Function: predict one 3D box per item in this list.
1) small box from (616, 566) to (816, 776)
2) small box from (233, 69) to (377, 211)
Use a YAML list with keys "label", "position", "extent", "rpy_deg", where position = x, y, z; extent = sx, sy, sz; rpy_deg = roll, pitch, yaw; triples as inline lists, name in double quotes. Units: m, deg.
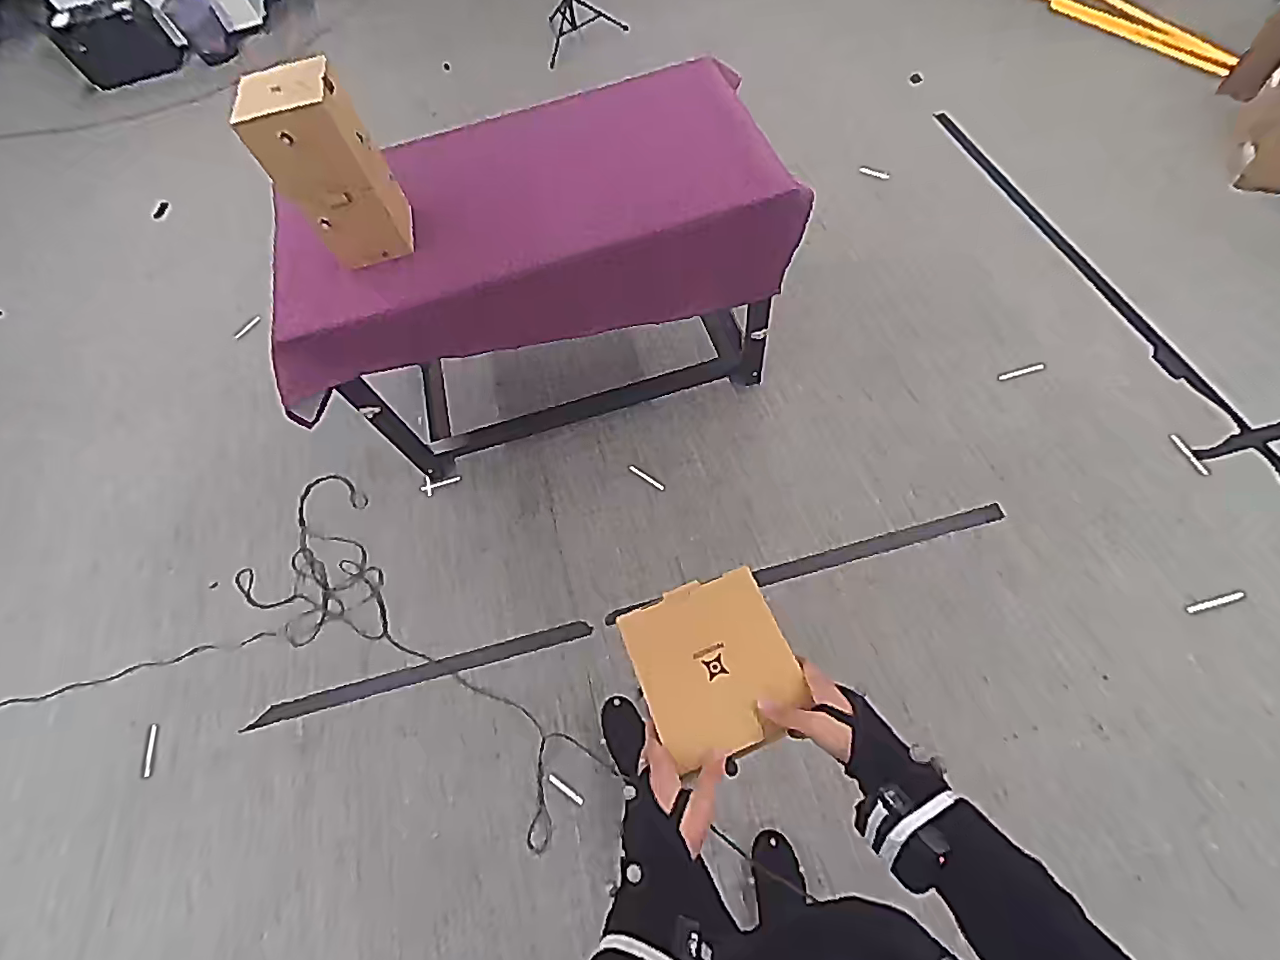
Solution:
- label: "small box"
  position: [0.086, 0.236, 0.651]
  extent: [0.168, 0.176, 0.179]
  rpy_deg: [-21, 58, -6]
- label: "small box"
  position: [-0.658, -0.671, 1.082]
  extent: [0.179, 0.176, 0.168]
  rpy_deg: [-14, 63, 0]
